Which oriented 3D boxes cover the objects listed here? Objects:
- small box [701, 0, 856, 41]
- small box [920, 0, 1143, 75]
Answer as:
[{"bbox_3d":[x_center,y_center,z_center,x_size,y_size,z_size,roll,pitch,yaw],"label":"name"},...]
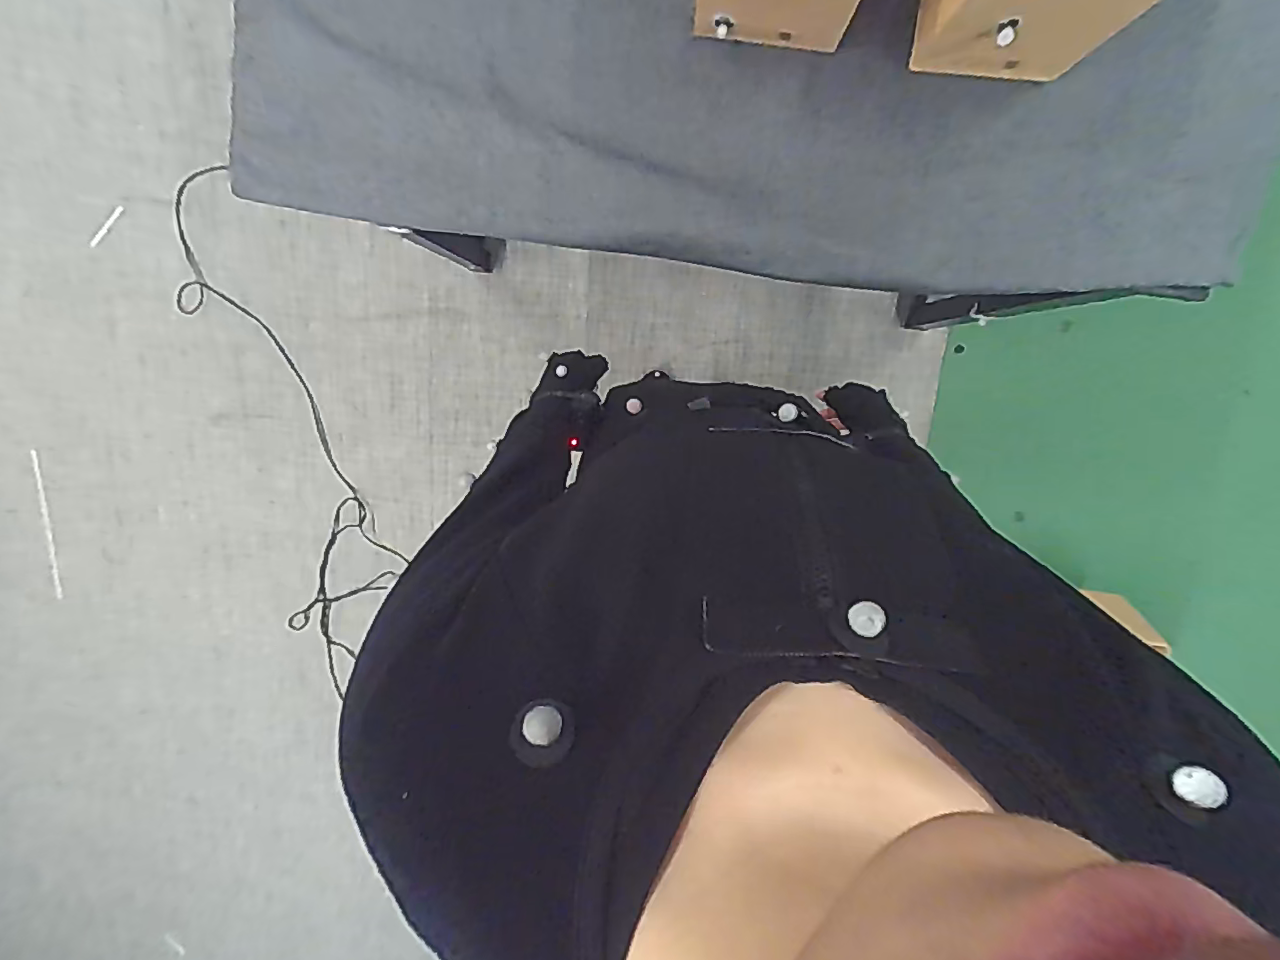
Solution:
[{"bbox_3d":[0.153,-0.575,0.525,0.168,0.176,0.179,9,101,2],"label":"small box"},{"bbox_3d":[0.396,-0.530,0.519,0.168,0.176,0.179,7,102,3],"label":"small box"}]
